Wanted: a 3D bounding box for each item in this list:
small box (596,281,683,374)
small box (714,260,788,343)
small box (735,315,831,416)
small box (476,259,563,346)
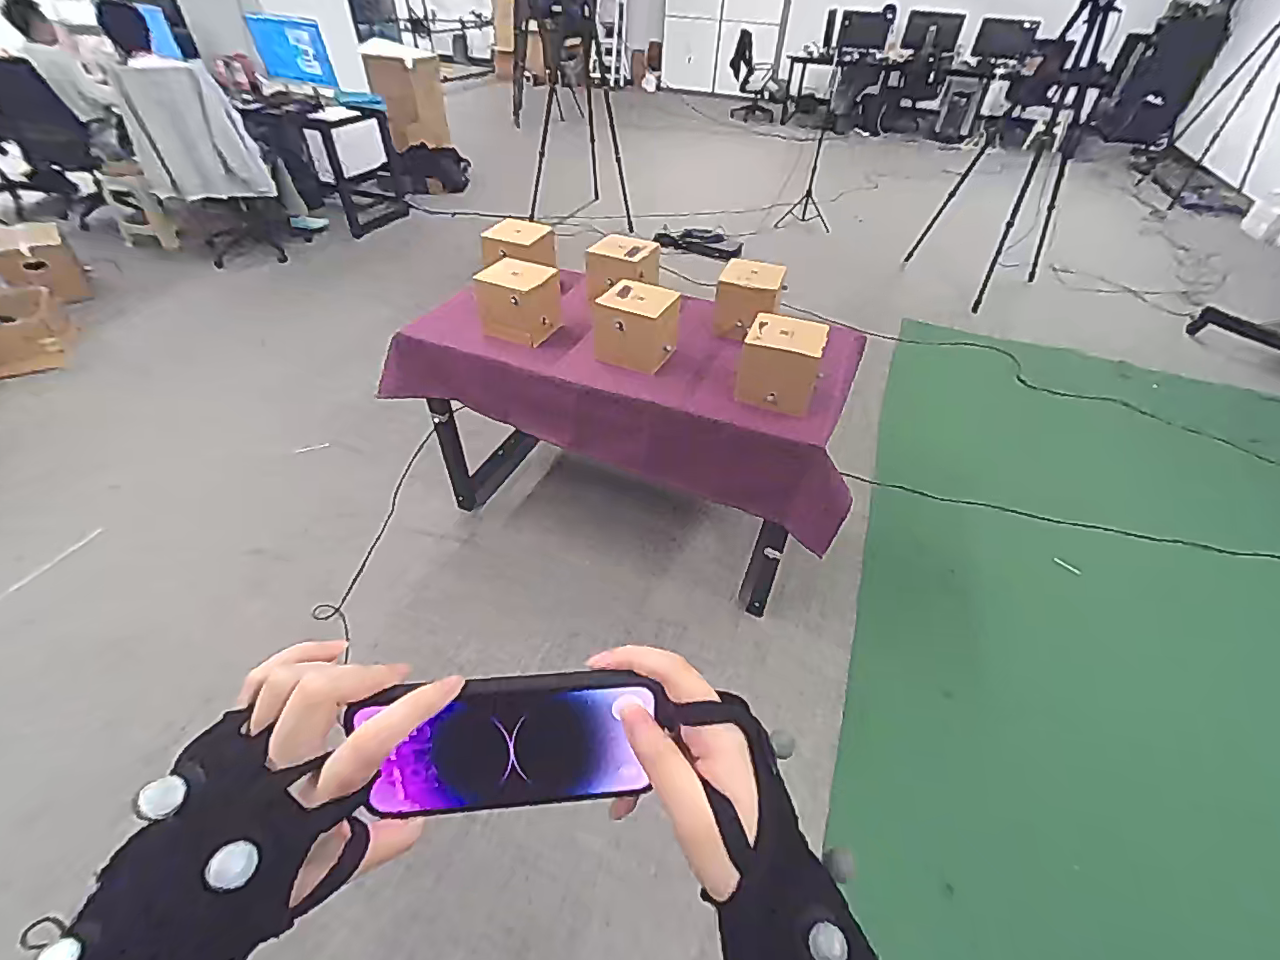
[{"bbox_3d":[-0.003,-0.403,1.439,0.179,0.176,0.168,21,46,17],"label":"small box"},{"bbox_3d":[0.319,-0.514,1.570,0.168,0.176,0.179,15,45,14],"label":"small box"},{"bbox_3d":[0.347,-0.277,1.321,0.179,0.176,0.168,17,45,14],"label":"small box"},{"bbox_3d":[-0.333,-0.497,1.522,0.179,0.176,0.168,19,46,15],"label":"small box"}]
